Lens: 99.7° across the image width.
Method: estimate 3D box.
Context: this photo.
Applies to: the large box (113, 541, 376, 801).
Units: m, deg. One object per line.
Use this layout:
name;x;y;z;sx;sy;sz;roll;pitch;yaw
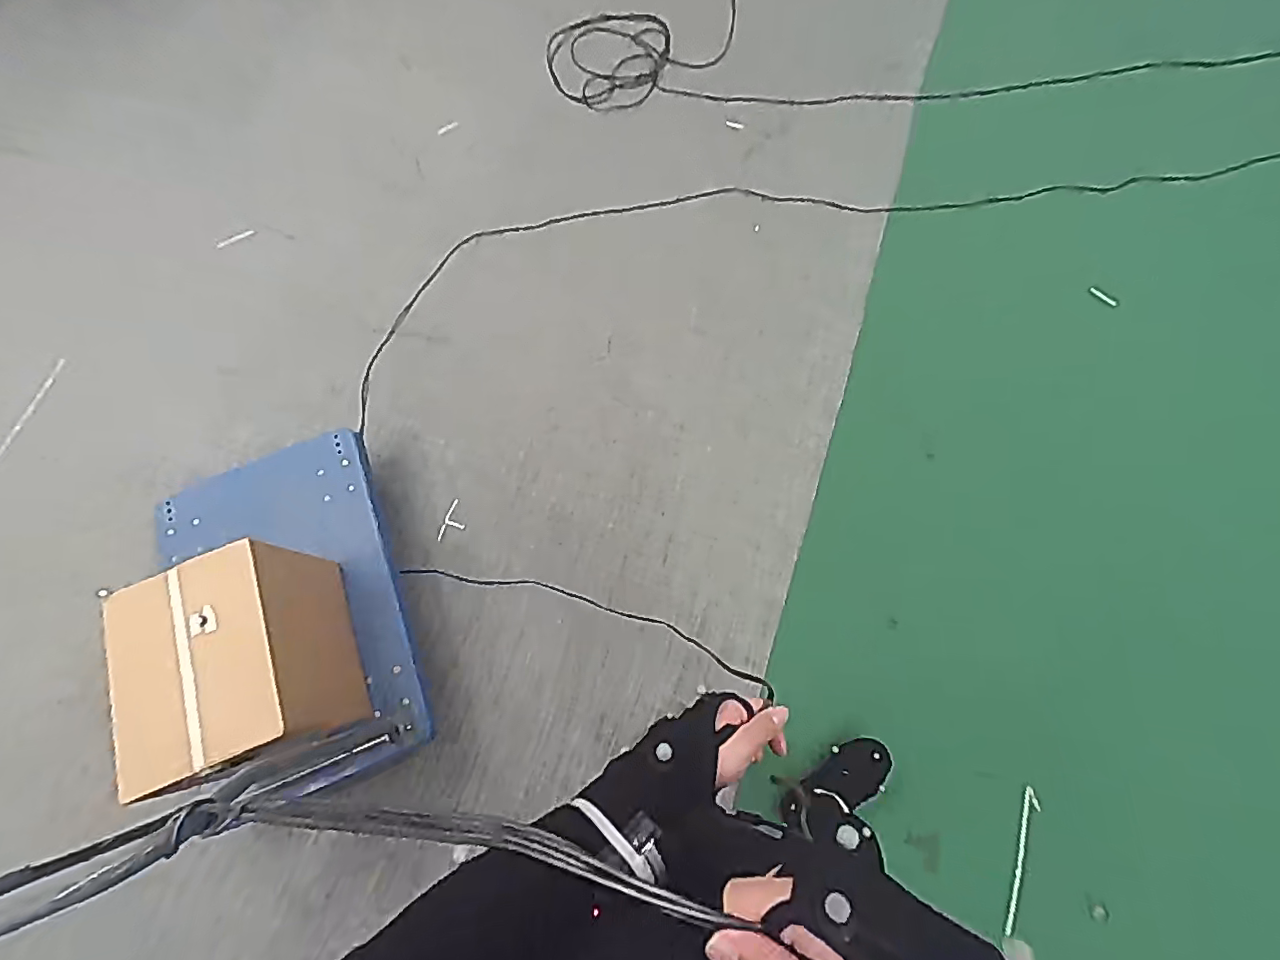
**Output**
large box;-0.844;0.401;1.184;0.320;0.320;0.408;-23;71;-4
